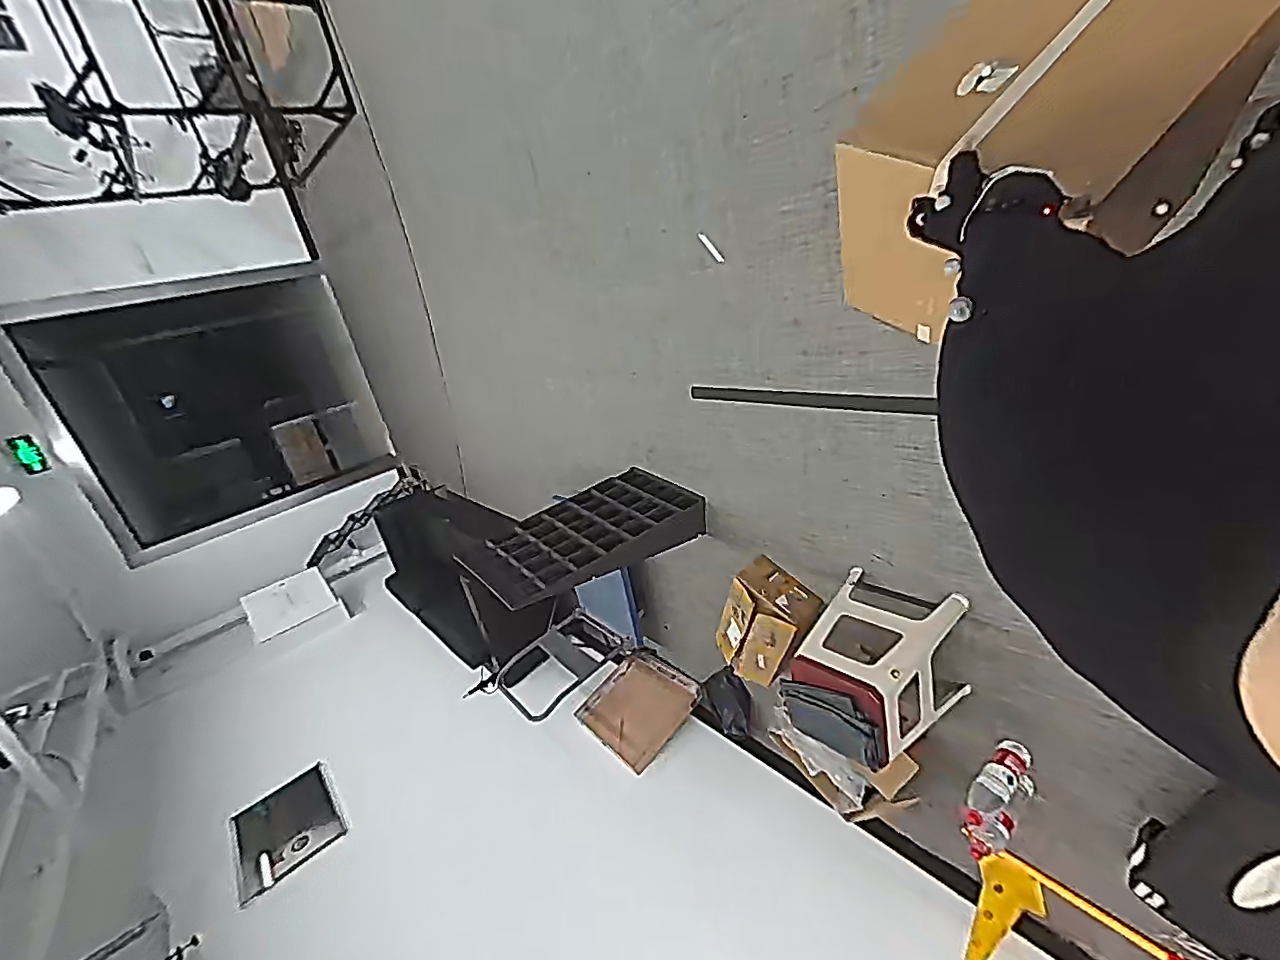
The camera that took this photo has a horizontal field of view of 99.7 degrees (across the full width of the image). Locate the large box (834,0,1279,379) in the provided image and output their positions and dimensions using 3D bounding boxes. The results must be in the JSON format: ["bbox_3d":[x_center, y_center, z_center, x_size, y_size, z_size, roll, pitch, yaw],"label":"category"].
[{"bbox_3d":[0.542,-0.433,0.779,0.320,0.408,0.320,41,176,34],"label":"large box"}]
